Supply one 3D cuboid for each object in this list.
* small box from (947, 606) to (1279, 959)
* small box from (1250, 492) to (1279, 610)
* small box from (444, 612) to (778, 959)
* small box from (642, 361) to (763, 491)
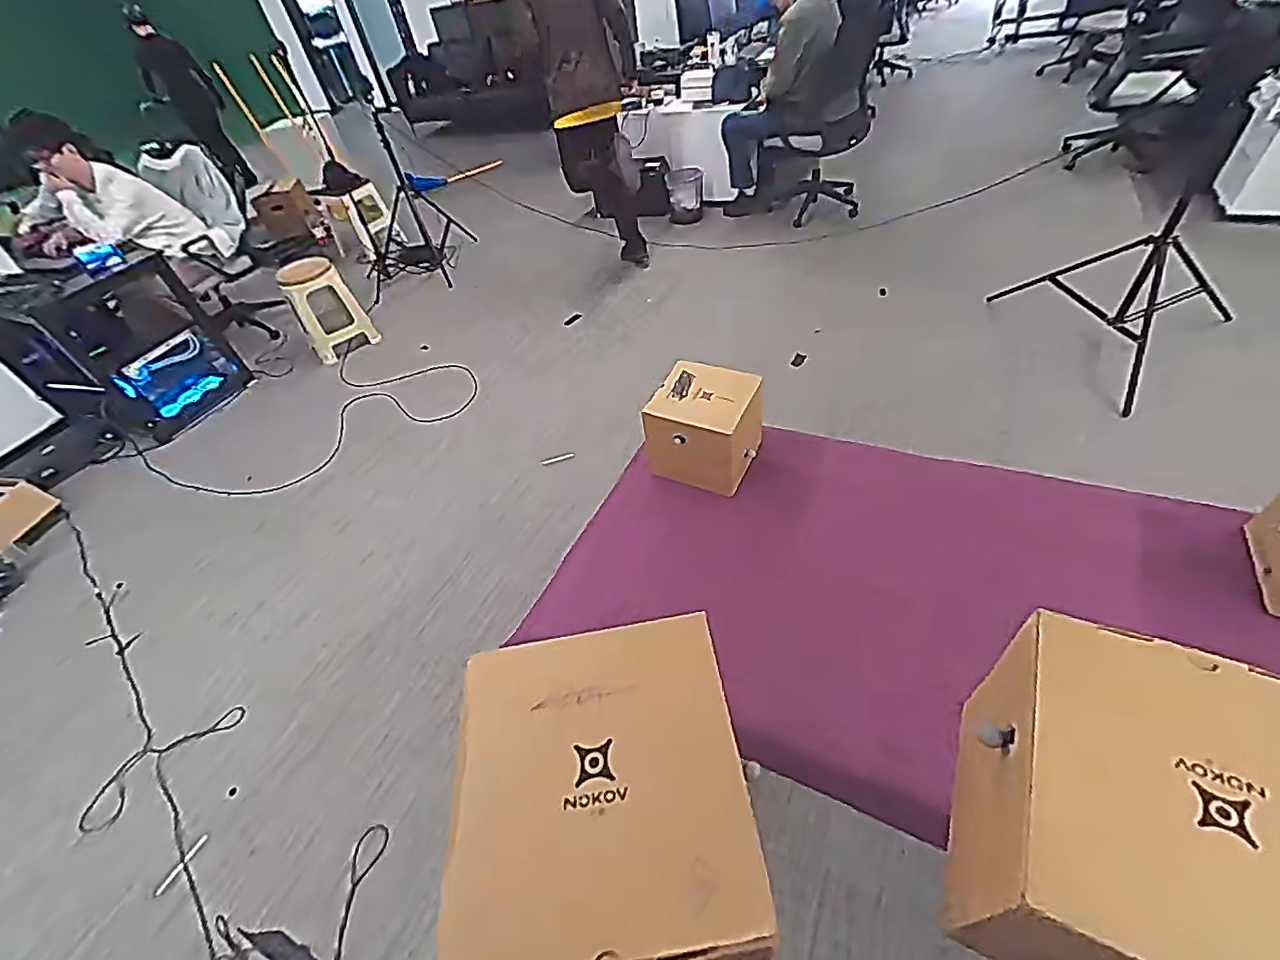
[{"bbox_3d":[0.305,0.216,0.332,0.168,0.176,0.179,15,51,24],"label":"small box"},{"bbox_3d":[0.960,0.090,0.701,0.179,0.176,0.168,15,52,23],"label":"small box"},{"bbox_3d":[-0.014,0.220,0.367,0.168,0.176,0.179,-10,45,-1],"label":"small box"},{"bbox_3d":[0.124,-0.102,1.042,0.179,0.176,0.168,17,54,23],"label":"small box"}]
